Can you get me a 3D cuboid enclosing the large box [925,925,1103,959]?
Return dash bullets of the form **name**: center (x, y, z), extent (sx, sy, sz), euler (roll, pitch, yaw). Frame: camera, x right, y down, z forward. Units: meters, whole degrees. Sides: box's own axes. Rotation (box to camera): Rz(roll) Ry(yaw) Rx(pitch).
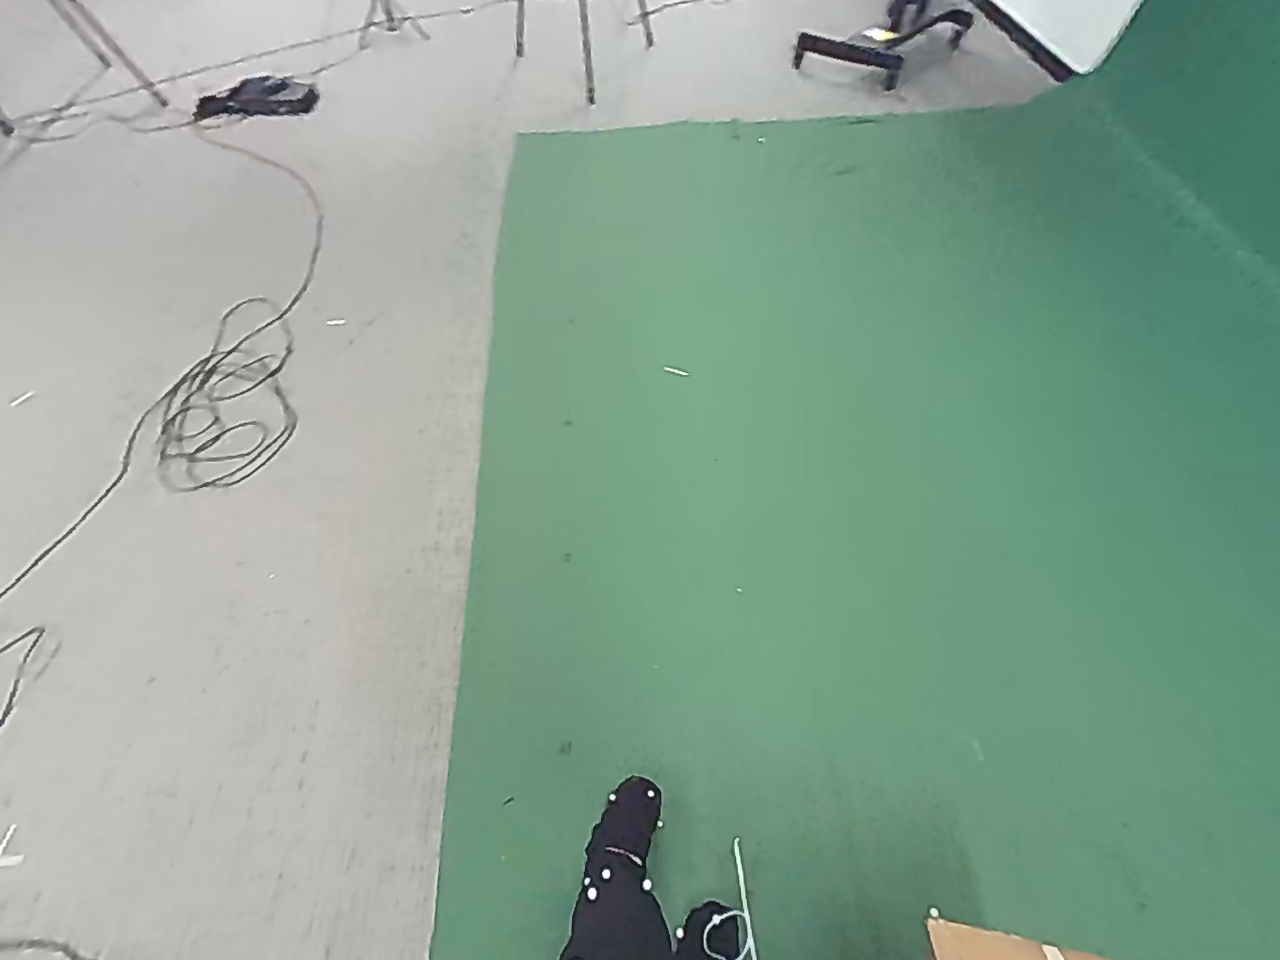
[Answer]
- **large box**: center (0.522, 0.820, 0.587), extent (0.320, 0.408, 0.320), euler (2, 88, 17)
